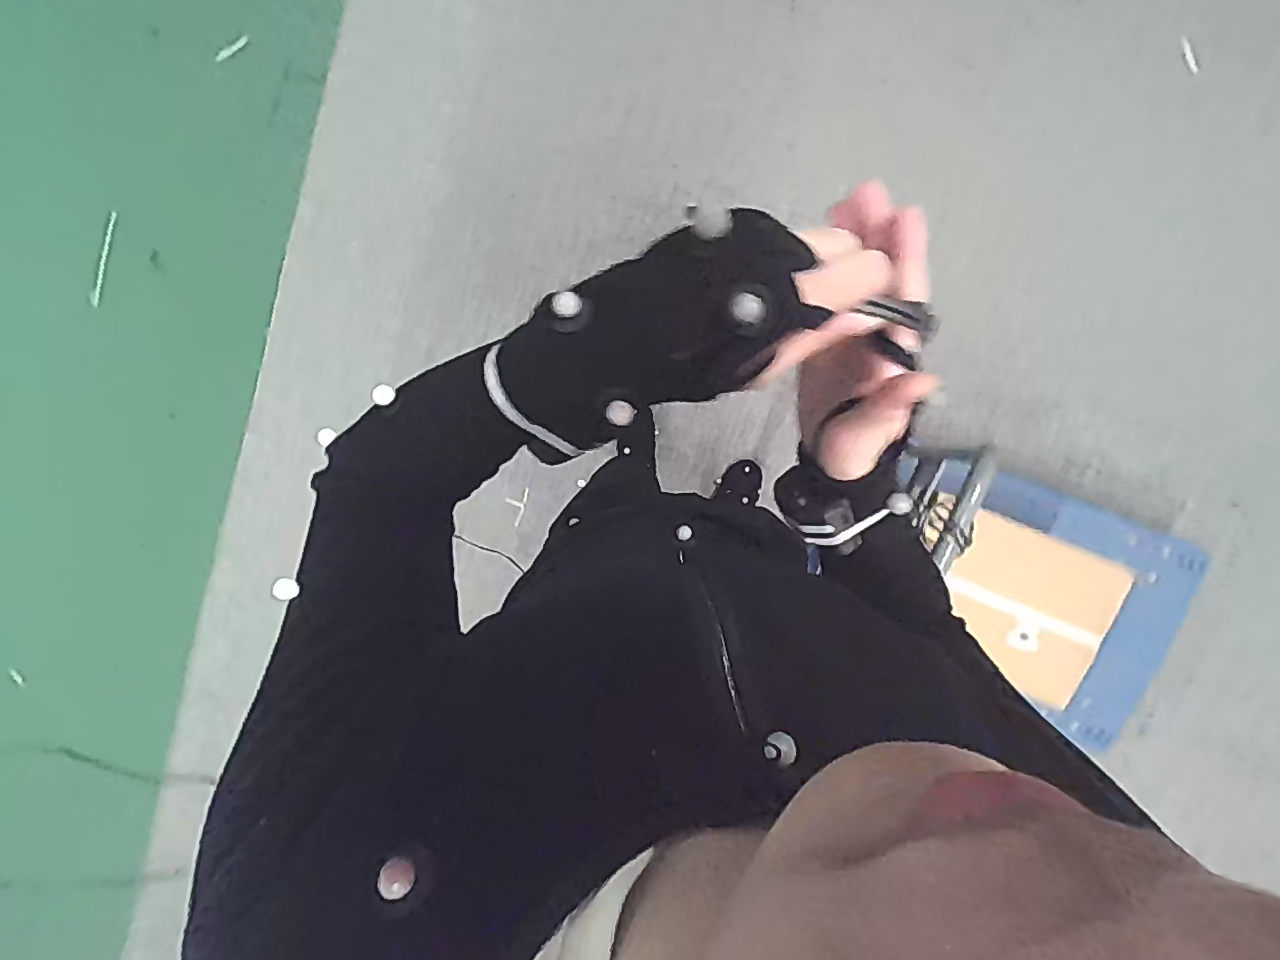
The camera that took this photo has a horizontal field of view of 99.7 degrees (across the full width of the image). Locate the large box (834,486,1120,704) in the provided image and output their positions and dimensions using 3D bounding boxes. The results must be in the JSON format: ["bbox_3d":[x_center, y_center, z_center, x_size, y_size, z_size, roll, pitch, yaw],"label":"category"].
[{"bbox_3d":[0.728,0.234,1.246,0.408,0.320,0.320,24,97,4],"label":"large box"}]
